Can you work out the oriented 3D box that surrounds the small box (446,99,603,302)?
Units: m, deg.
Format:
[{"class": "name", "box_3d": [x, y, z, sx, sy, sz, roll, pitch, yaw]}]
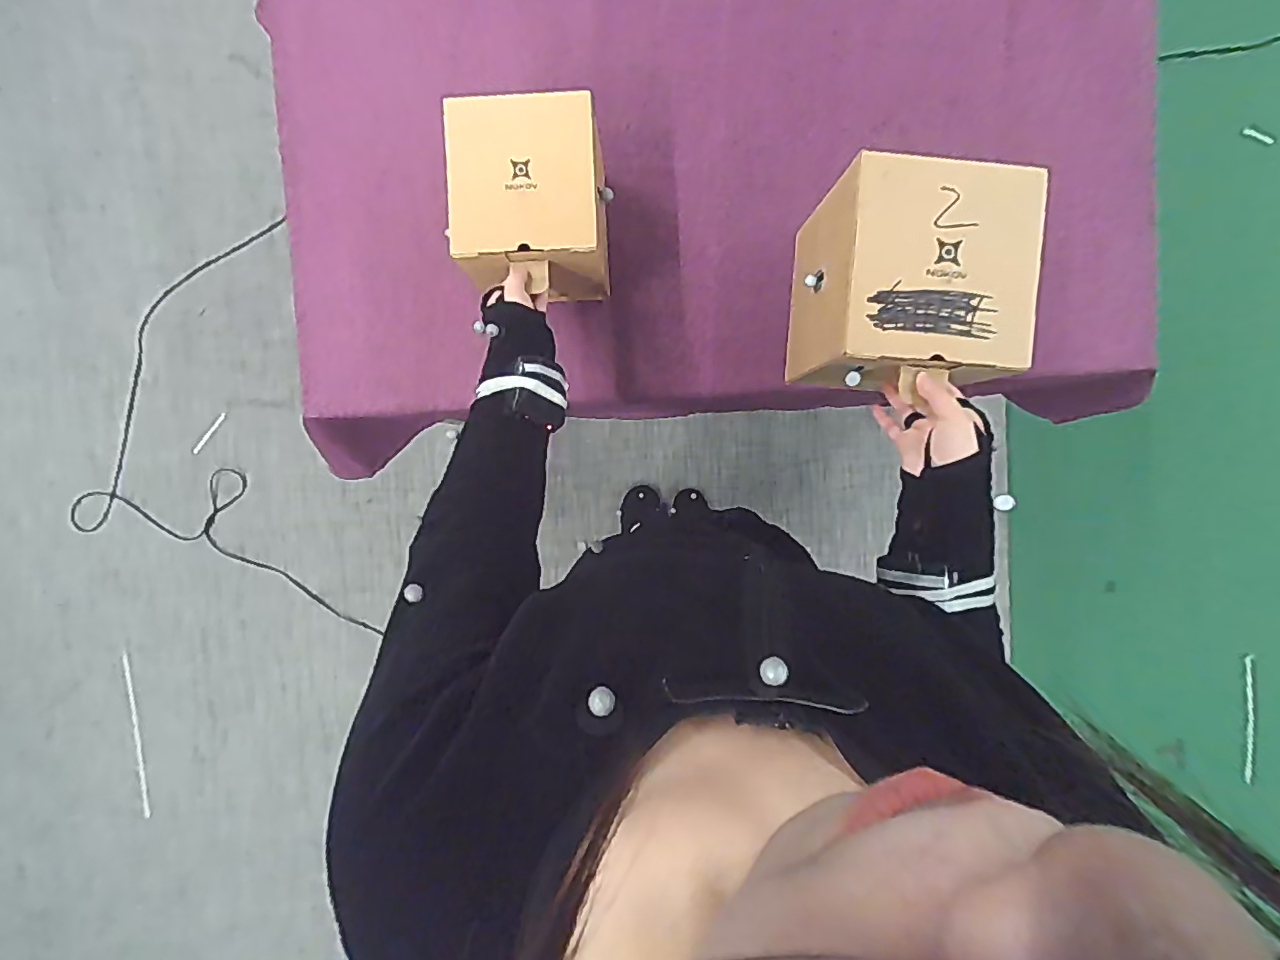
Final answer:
[{"class": "small box", "box_3d": [-0.136, -0.343, 0.691, 0.168, 0.176, 0.179, -2, 91, 1]}]
